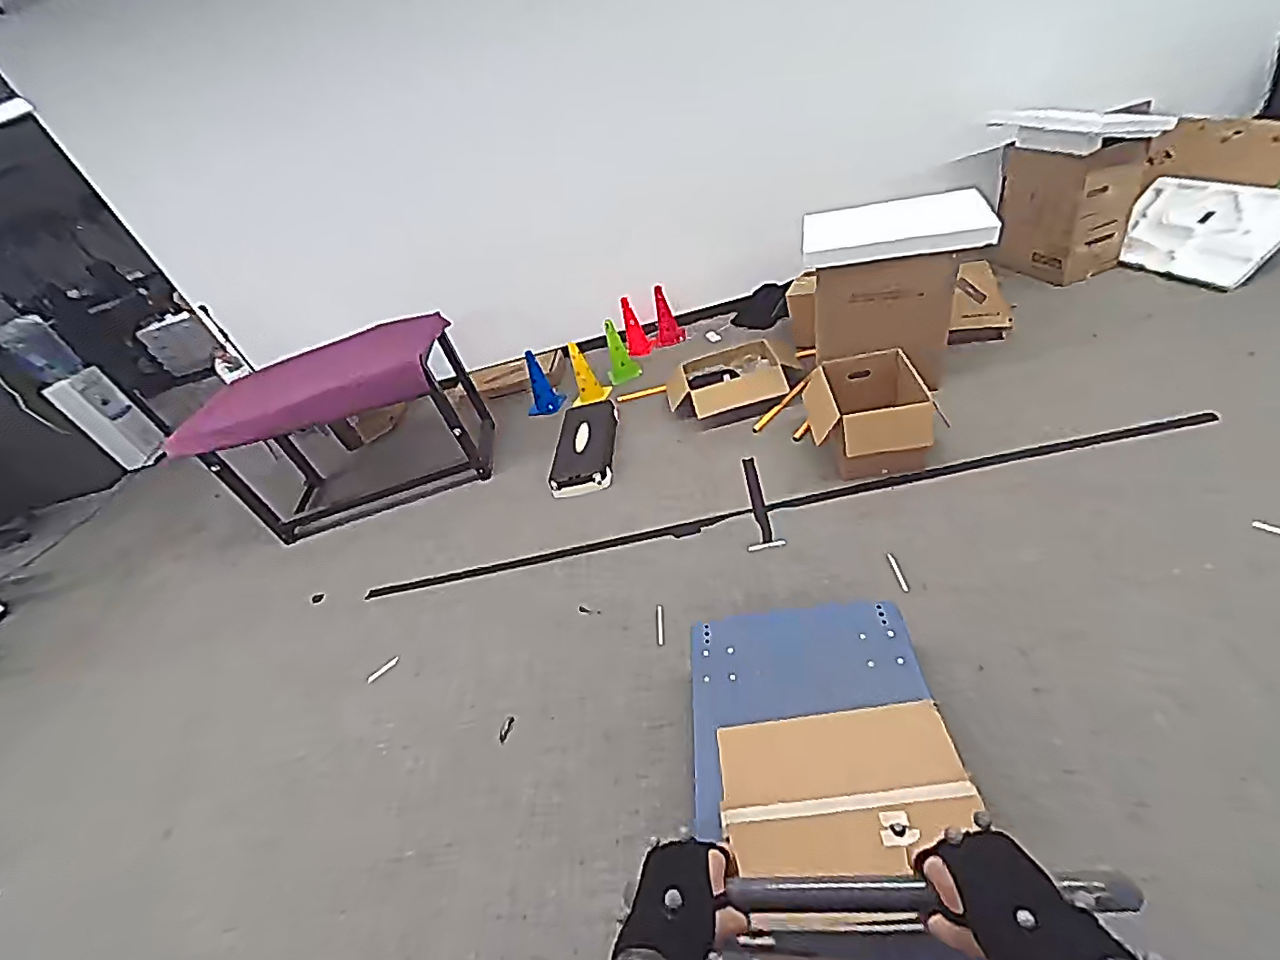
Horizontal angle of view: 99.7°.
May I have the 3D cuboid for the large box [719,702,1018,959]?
[{"bbox_3d":[0.384,0.661,1.002,0.408,0.320,0.320,-12,38,8],"label":"large box"}]
